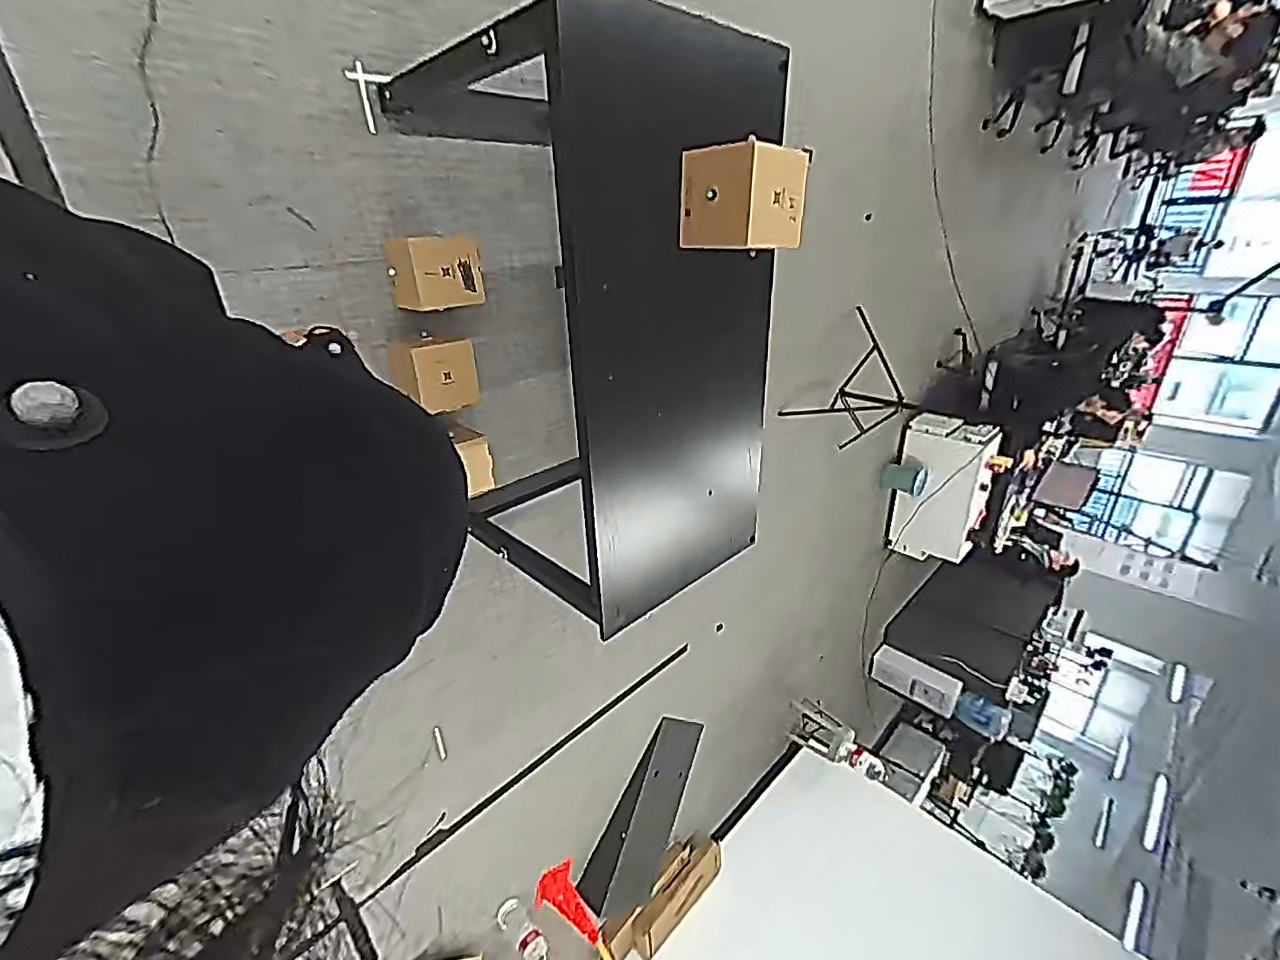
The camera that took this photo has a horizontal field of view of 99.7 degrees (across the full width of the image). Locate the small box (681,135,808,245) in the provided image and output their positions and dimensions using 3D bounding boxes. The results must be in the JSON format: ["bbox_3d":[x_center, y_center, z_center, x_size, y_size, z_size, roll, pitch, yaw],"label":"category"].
[{"bbox_3d":[0.195,-0.543,1.036,0.179,0.176,0.168,-21,121,-40],"label":"small box"}]

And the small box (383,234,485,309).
[{"bbox_3d":[-0.526,-0.538,1.382,0.179,0.176,0.168,-24,122,-37],"label":"small box"}]

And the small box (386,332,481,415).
[{"bbox_3d":[-0.555,-0.293,1.456,0.168,0.176,0.179,-25,122,-39],"label":"small box"}]

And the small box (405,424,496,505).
[{"bbox_3d":[-0.547,-0.052,1.561,0.179,0.176,0.168,-25,122,-38],"label":"small box"}]
